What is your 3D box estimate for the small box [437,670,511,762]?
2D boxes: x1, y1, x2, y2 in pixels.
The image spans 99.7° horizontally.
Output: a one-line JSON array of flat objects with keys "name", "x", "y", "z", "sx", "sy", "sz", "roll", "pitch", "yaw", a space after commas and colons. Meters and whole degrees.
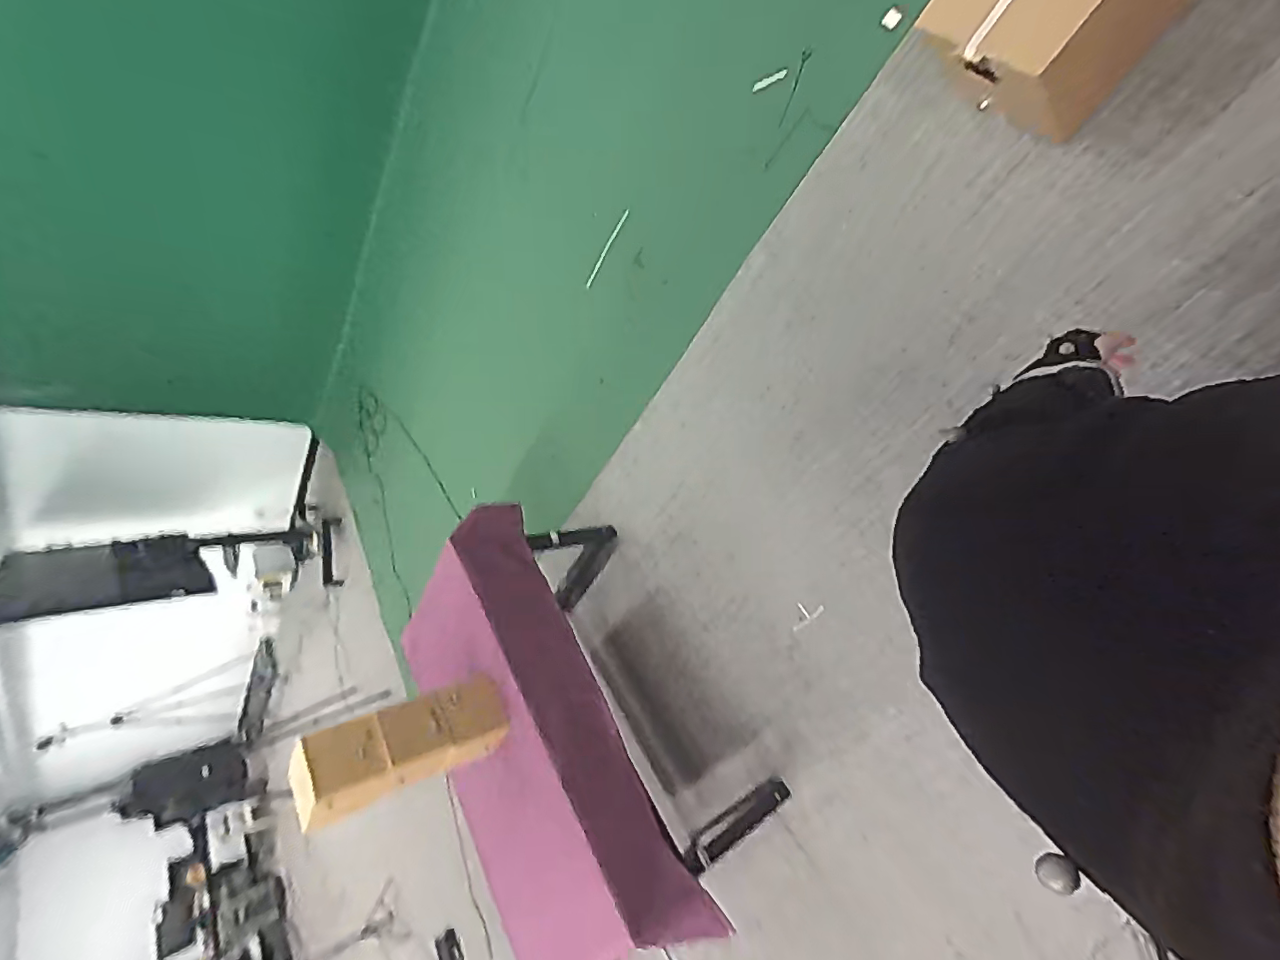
[{"name": "small box", "x": -0.503, "y": 0.674, "z": 1.571, "sx": 0.179, "sy": 0.176, "sz": 0.168, "roll": 54, "pitch": 127, "yaw": 29}]

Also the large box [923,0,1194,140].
[{"name": "large box", "x": 0.872, "y": -0.997, "z": 1.076, "sx": 0.408, "sy": 0.320, "sz": 0.320, "roll": -53, "pitch": 56, "yaw": 31}]

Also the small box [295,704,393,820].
[{"name": "small box", "x": -0.736, "y": 0.693, "z": 1.344, "sx": 0.168, "sy": 0.176, "sz": 0.179, "roll": 50, "pitch": 123, "yaw": 30}]

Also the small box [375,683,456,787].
[{"name": "small box", "x": -0.620, "y": 0.682, "z": 1.457, "sx": 0.168, "sy": 0.176, "sz": 0.179, "roll": 52, "pitch": 125, "yaw": 29}]
